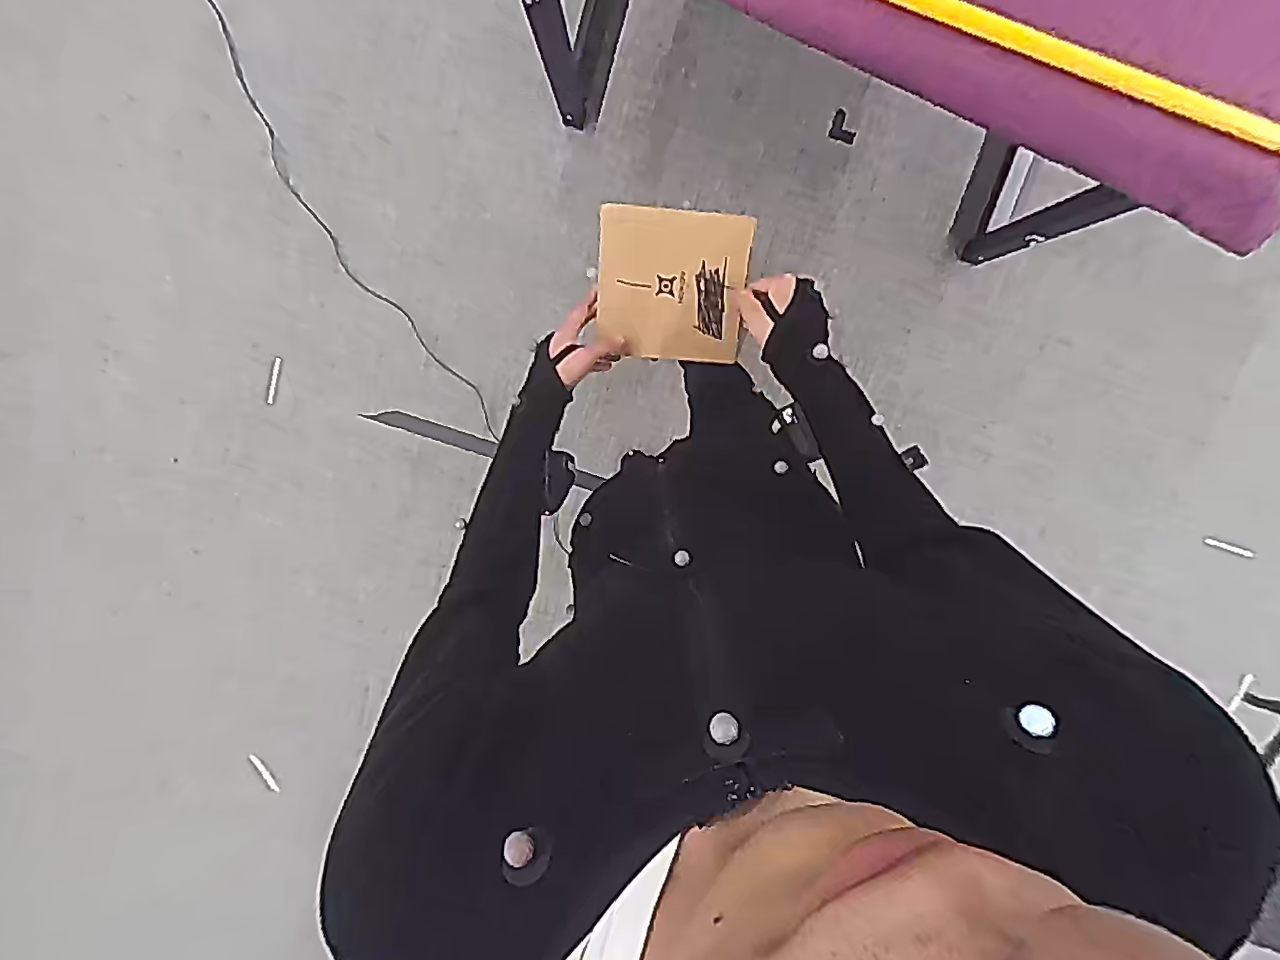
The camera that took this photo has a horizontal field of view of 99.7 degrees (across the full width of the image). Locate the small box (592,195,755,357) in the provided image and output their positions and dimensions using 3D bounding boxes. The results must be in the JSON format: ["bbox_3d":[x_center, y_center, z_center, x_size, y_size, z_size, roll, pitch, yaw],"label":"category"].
[{"bbox_3d":[0.031,-0.260,0.696,0.179,0.176,0.168,3,111,-4],"label":"small box"}]
